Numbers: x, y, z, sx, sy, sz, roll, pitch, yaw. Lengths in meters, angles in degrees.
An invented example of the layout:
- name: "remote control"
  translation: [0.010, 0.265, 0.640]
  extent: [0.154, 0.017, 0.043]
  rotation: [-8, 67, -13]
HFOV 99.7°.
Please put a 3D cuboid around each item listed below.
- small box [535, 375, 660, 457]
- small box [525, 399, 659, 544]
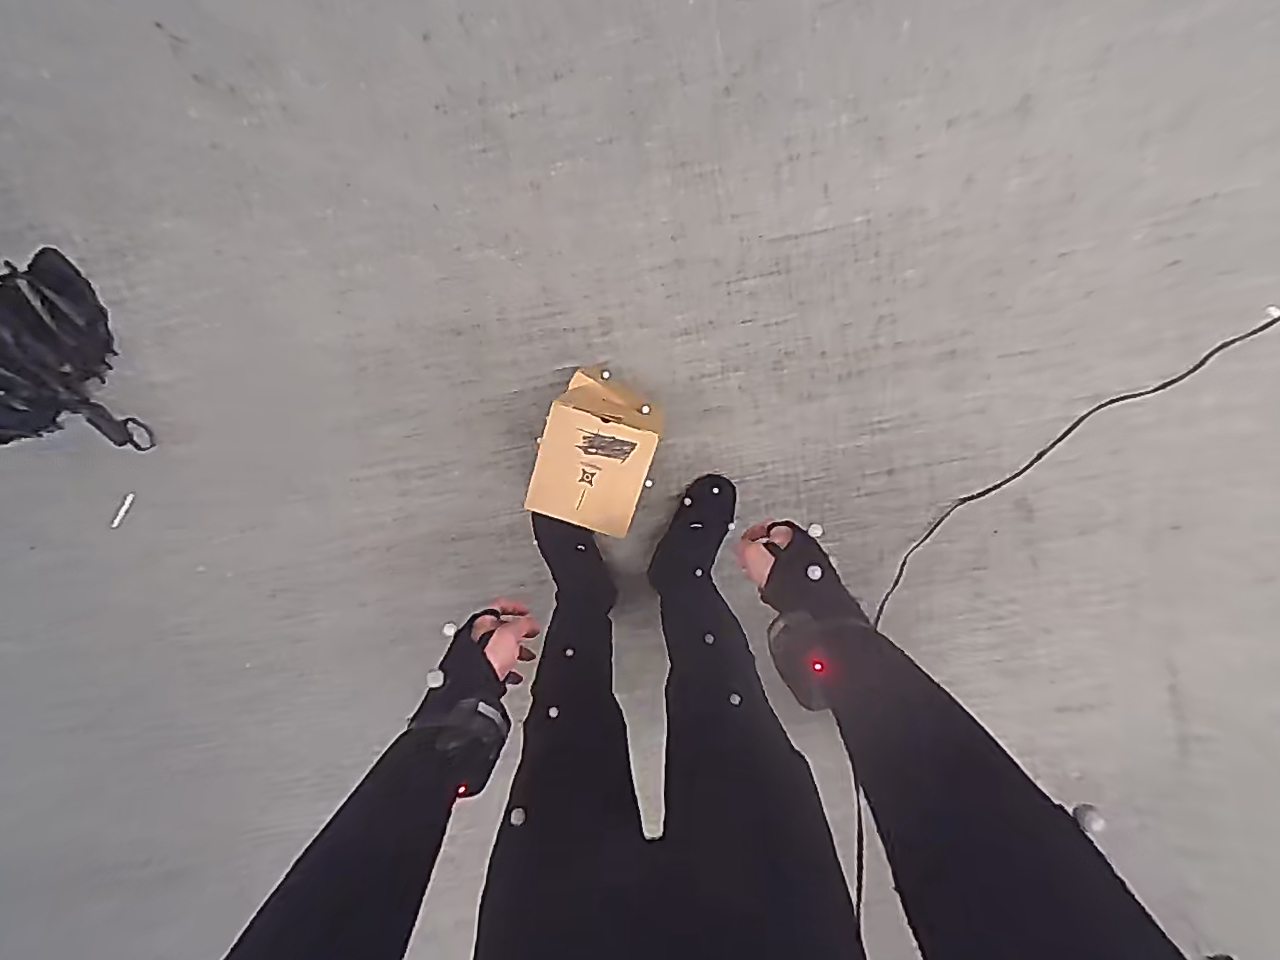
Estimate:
- name: "small box"
  translation: [-0.075, -0.091, 1.044]
  extent: [0.179, 0.176, 0.168]
  rotation: [29, 105, -6]
- name: "small box"
  translation: [-0.072, -0.025, 0.892]
  extent: [0.168, 0.176, 0.179]
  rotation: [18, 106, -1]
